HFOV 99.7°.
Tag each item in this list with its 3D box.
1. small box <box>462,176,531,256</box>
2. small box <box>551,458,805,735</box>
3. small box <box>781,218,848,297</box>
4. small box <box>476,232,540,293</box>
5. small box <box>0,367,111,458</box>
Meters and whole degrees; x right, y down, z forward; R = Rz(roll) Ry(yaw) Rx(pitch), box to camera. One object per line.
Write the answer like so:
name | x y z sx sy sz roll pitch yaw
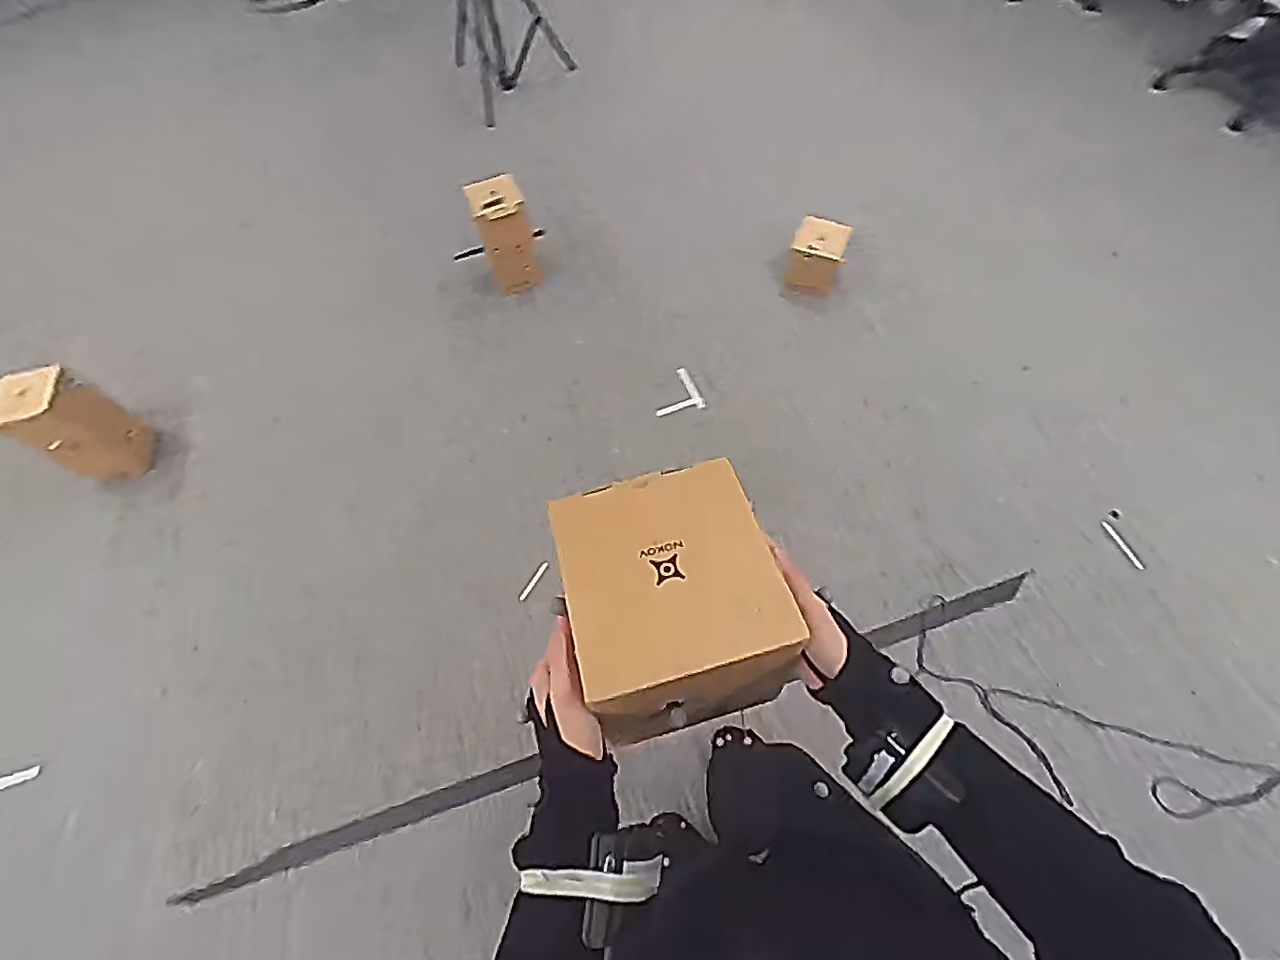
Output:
small box | -0.486 -0.896 1.853 0.168 0.176 0.179 -22 63 -9
small box | 0.028 0.113 0.488 0.168 0.176 0.179 -14 53 -5
small box | 0.616 -0.790 1.923 0.168 0.176 0.179 21 66 13
small box | -0.484 -0.819 1.998 0.168 0.176 0.179 -22 63 -9
small box | -1.681 -0.190 1.548 0.168 0.176 0.179 -16 64 -4
